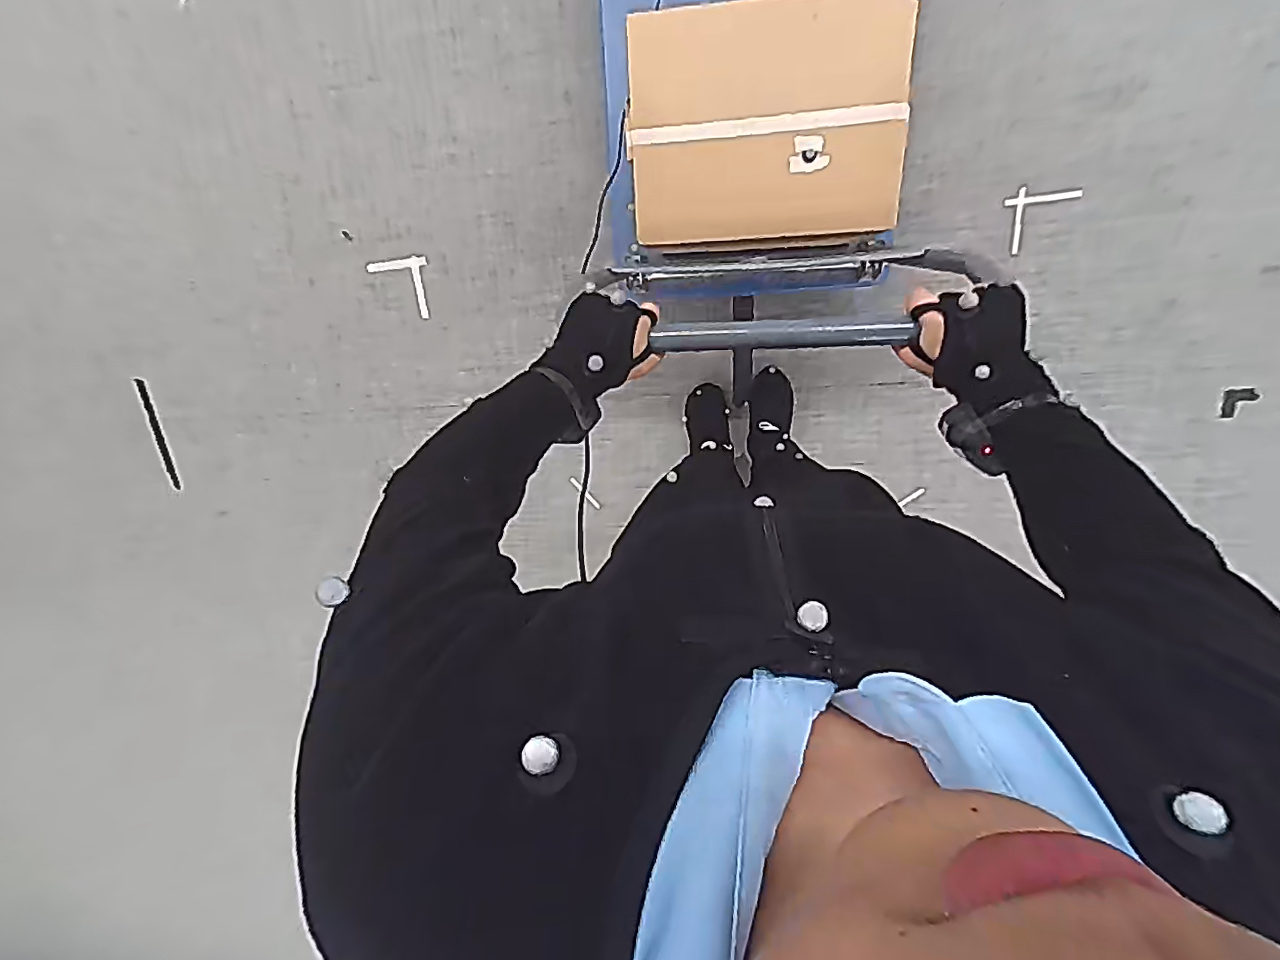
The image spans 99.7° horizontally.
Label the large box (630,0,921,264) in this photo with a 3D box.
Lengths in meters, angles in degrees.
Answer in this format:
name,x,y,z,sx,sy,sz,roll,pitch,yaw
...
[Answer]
name,x,y,z,sx,sy,sz,roll,pitch,yaw
large box,0.208,-0.559,0.939,0.408,0.320,0.320,0,111,8
